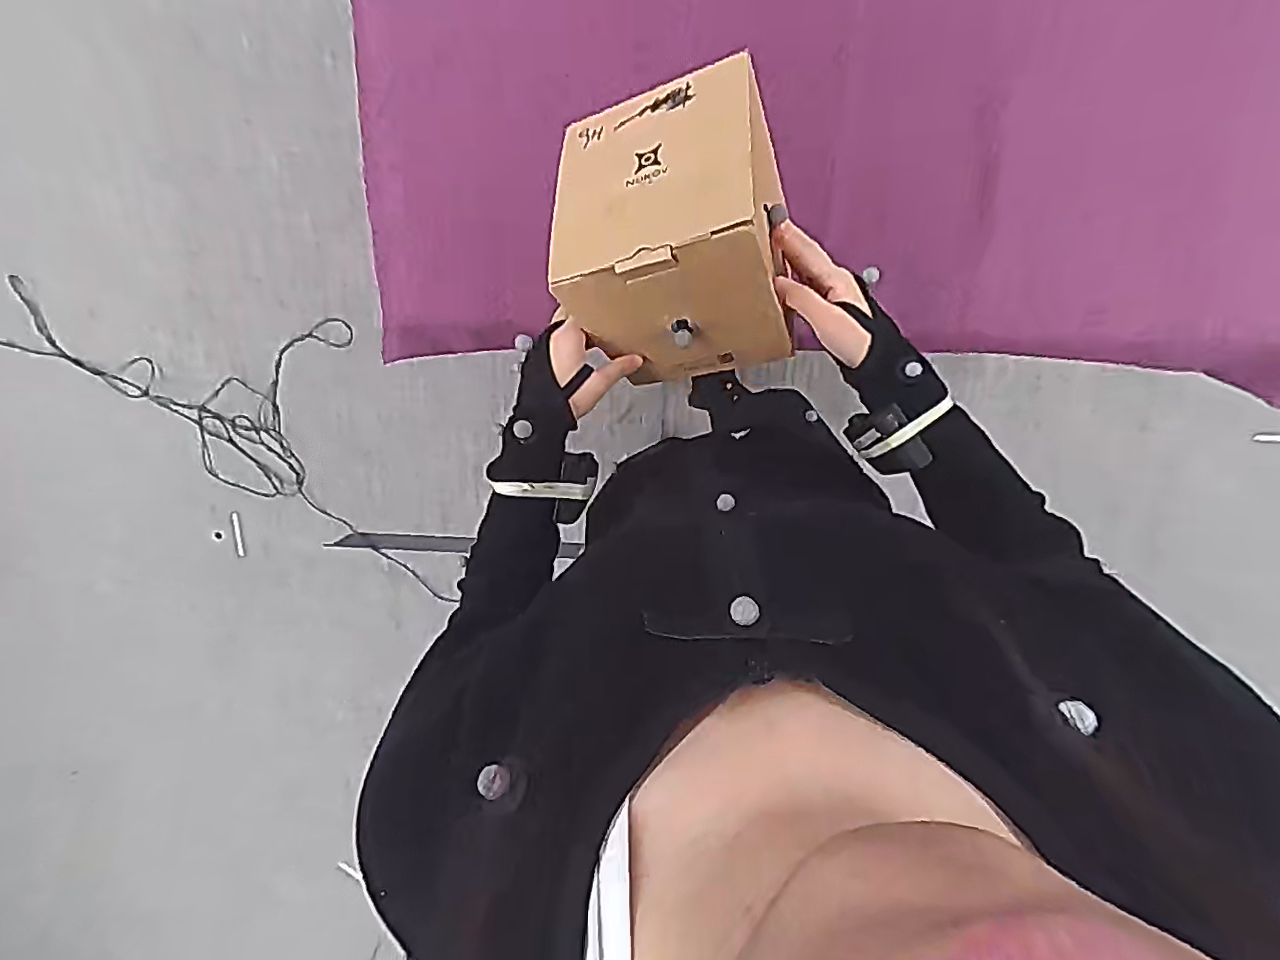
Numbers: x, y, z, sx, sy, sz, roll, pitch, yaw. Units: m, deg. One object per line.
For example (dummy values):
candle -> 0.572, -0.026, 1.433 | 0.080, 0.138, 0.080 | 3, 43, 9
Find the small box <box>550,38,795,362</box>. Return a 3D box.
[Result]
small box -> 0.040, -0.221, 0.483 | 0.168, 0.176, 0.179 | -6, 69, 24
